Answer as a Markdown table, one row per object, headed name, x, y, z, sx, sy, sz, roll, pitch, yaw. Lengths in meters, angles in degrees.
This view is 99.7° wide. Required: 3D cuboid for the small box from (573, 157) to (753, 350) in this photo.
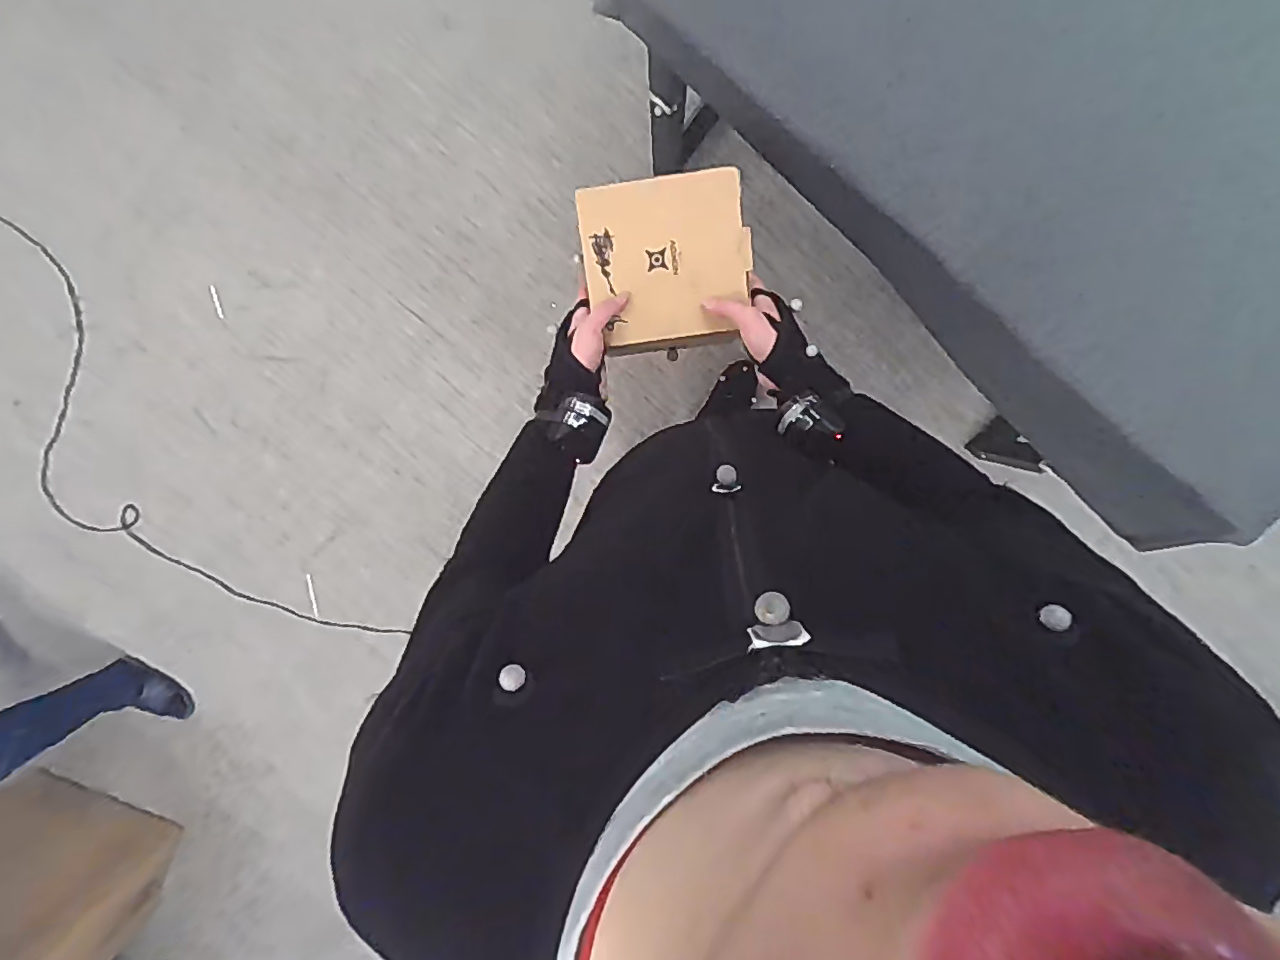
| name | x | y | z | sx | sy | sz | roll | pitch | yaw |
| --- | --- | --- | --- | --- | --- | --- | --- | --- | --- |
| small box | 0.026 | -0.252 | 0.642 | 0.179 | 0.176 | 0.168 | -7 | 97 | 2 |
